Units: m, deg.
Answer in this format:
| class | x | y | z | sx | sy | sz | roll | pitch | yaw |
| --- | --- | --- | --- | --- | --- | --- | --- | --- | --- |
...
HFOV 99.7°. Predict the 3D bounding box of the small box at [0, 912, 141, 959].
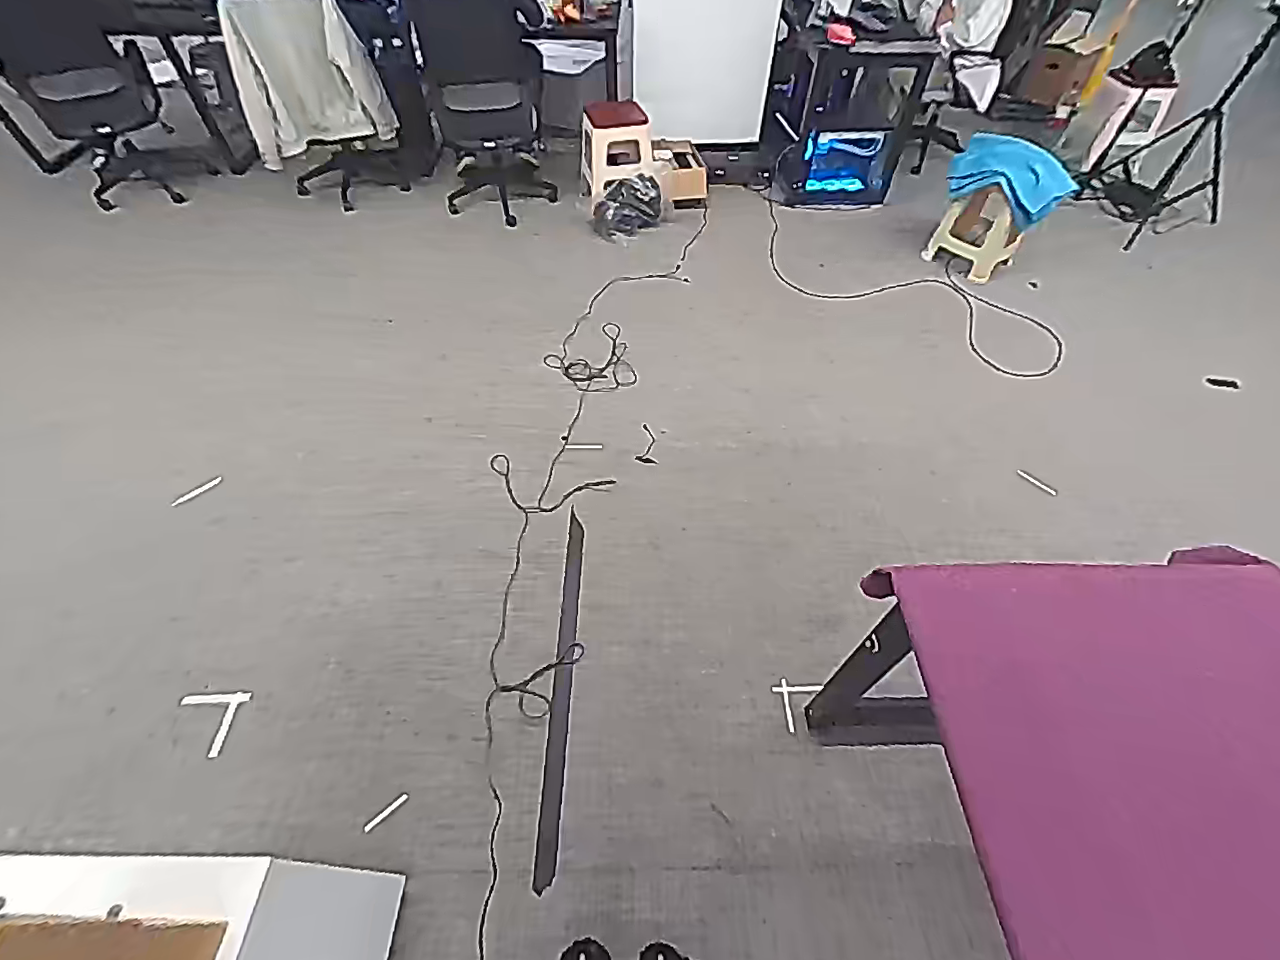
| class | x | y | z | sx | sy | sz | roll | pitch | yaw |
| --- | --- | --- | --- | --- | --- | --- | --- | --- | --- |
| small box | -0.601 | 0.472 | 0.453 | 0.179 | 0.176 | 0.168 | 2 | 52 | 0 |
